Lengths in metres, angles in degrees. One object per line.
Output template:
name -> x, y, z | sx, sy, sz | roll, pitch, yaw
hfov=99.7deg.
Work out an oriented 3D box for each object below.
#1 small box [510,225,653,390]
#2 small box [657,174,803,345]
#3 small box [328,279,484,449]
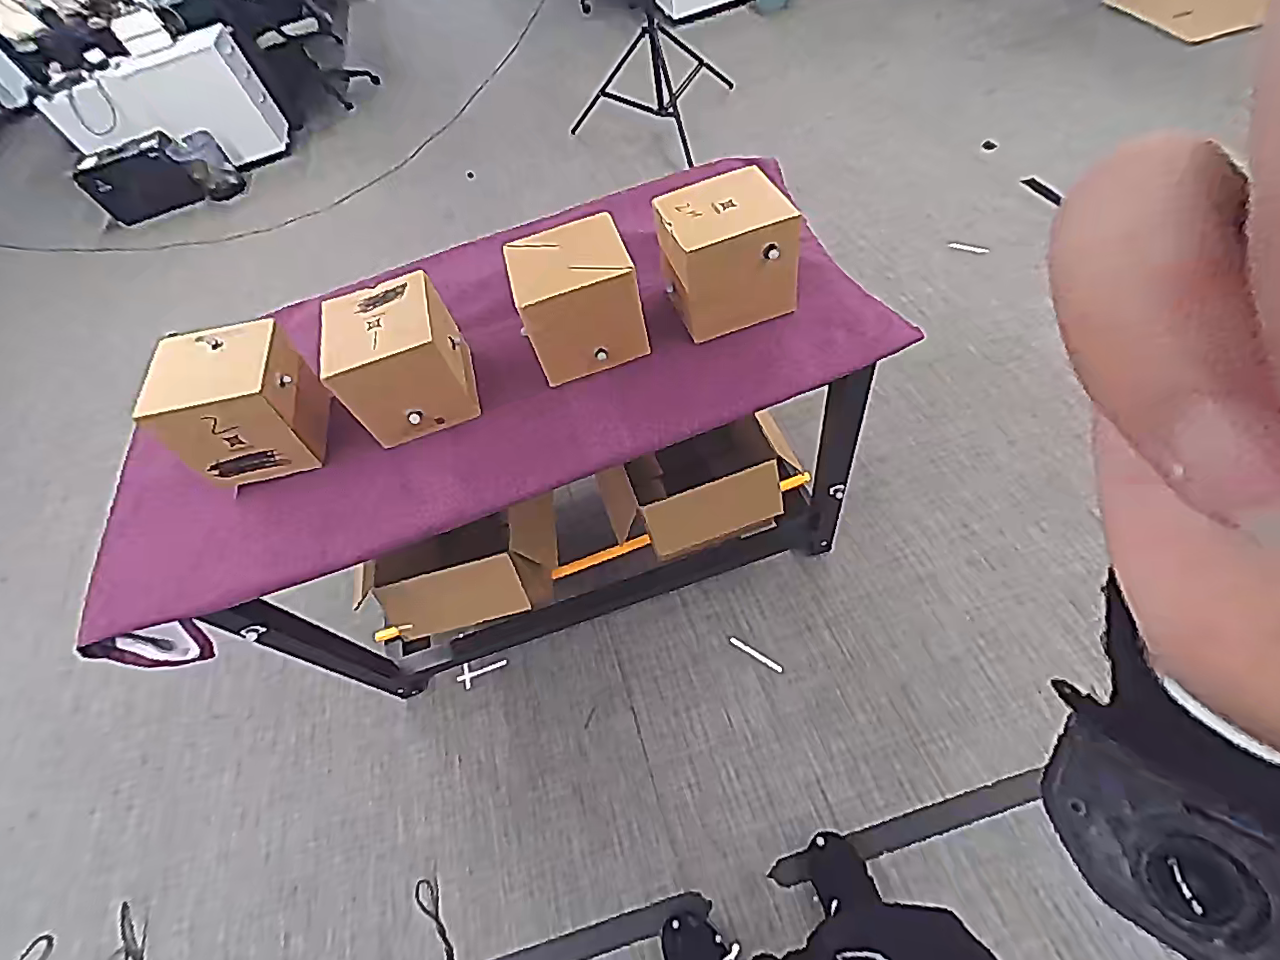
small box -> -0.095, -0.280, 0.871 | 0.179, 0.176, 0.168 | -19, 54, 0
small box -> 0.141, -0.349, 0.869 | 0.179, 0.176, 0.168 | -19, 53, -1
small box -> -0.367, -0.181, 0.866 | 0.168, 0.176, 0.179 | -20, 56, -1
